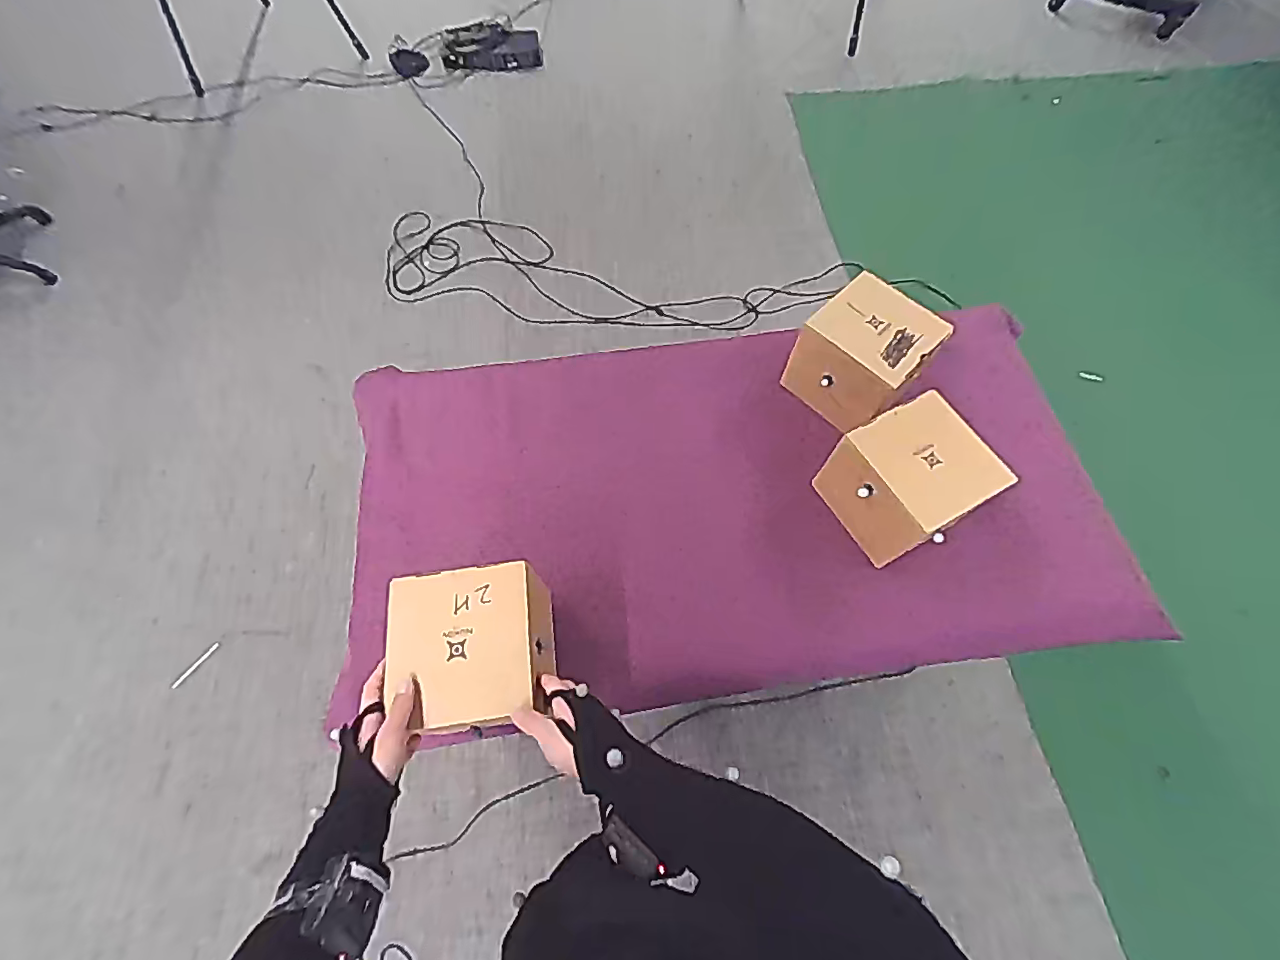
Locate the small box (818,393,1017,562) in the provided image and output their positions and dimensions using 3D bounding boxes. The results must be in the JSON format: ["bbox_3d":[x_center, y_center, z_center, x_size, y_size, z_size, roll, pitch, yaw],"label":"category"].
[{"bbox_3d":[0.403,0.008,0.820,0.168,0.176,0.179,-26,67,-12],"label":"small box"}]

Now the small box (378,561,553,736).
[{"bbox_3d":[-0.208,0.216,0.686,0.168,0.176,0.179,-7,66,-2],"label":"small box"}]

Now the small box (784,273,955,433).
[{"bbox_3d":[0.376,-0.203,0.916,0.168,0.176,0.179,-40,71,-17],"label":"small box"}]
